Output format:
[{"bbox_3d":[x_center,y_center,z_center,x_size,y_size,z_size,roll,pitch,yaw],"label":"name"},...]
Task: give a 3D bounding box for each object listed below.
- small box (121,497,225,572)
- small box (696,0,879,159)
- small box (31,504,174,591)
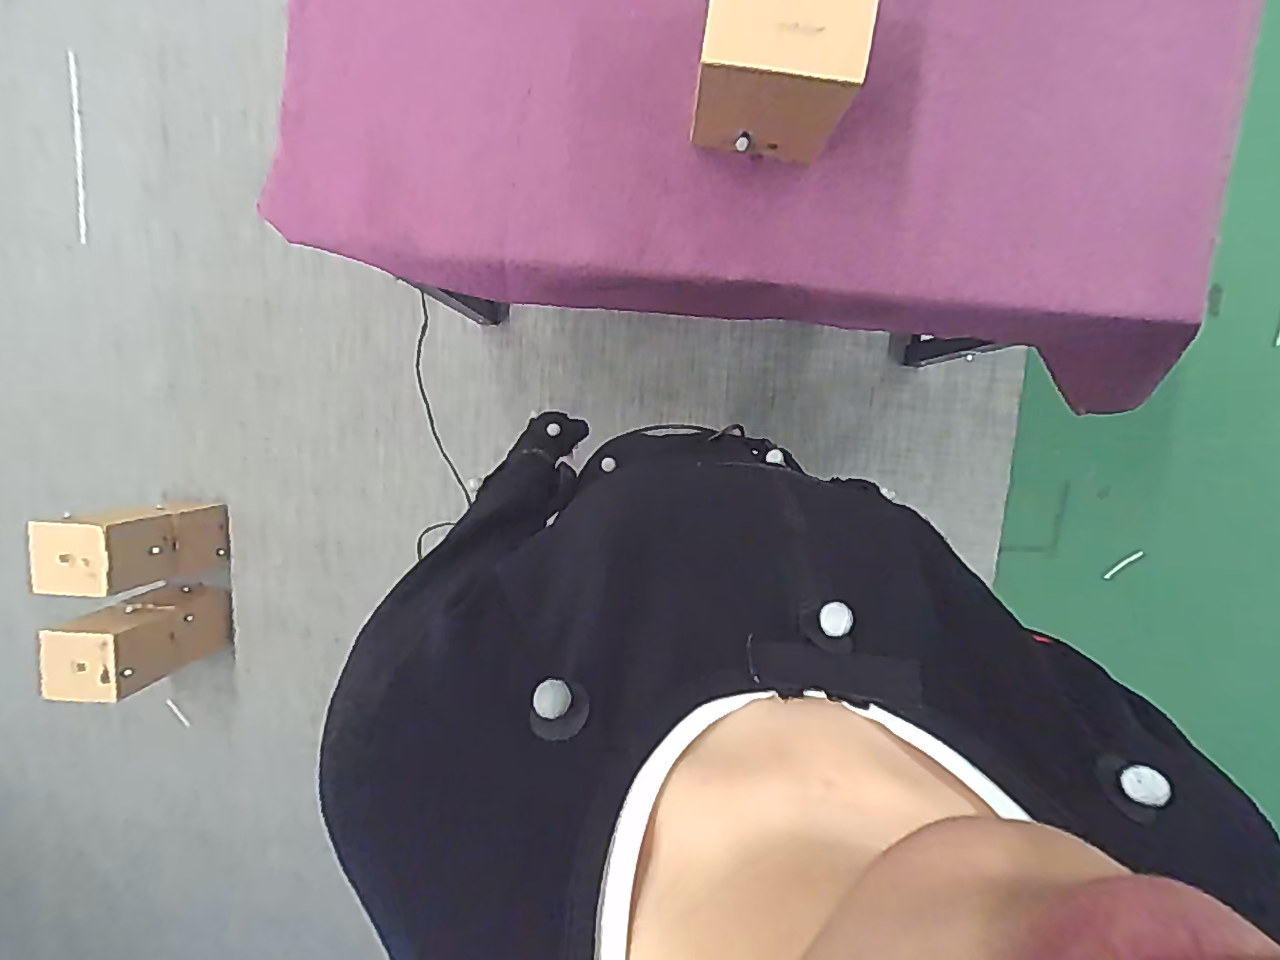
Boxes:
[{"bbox_3d":[-1.243,0.138,1.436,0.179,0.176,0.168,3,96,2],"label":"small box"},{"bbox_3d":[0.159,-0.503,0.610,0.168,0.176,0.179,9,96,1],"label":"small box"},{"bbox_3d":[-1.254,0.152,1.272,0.179,0.176,0.168,4,96,1],"label":"small box"}]
